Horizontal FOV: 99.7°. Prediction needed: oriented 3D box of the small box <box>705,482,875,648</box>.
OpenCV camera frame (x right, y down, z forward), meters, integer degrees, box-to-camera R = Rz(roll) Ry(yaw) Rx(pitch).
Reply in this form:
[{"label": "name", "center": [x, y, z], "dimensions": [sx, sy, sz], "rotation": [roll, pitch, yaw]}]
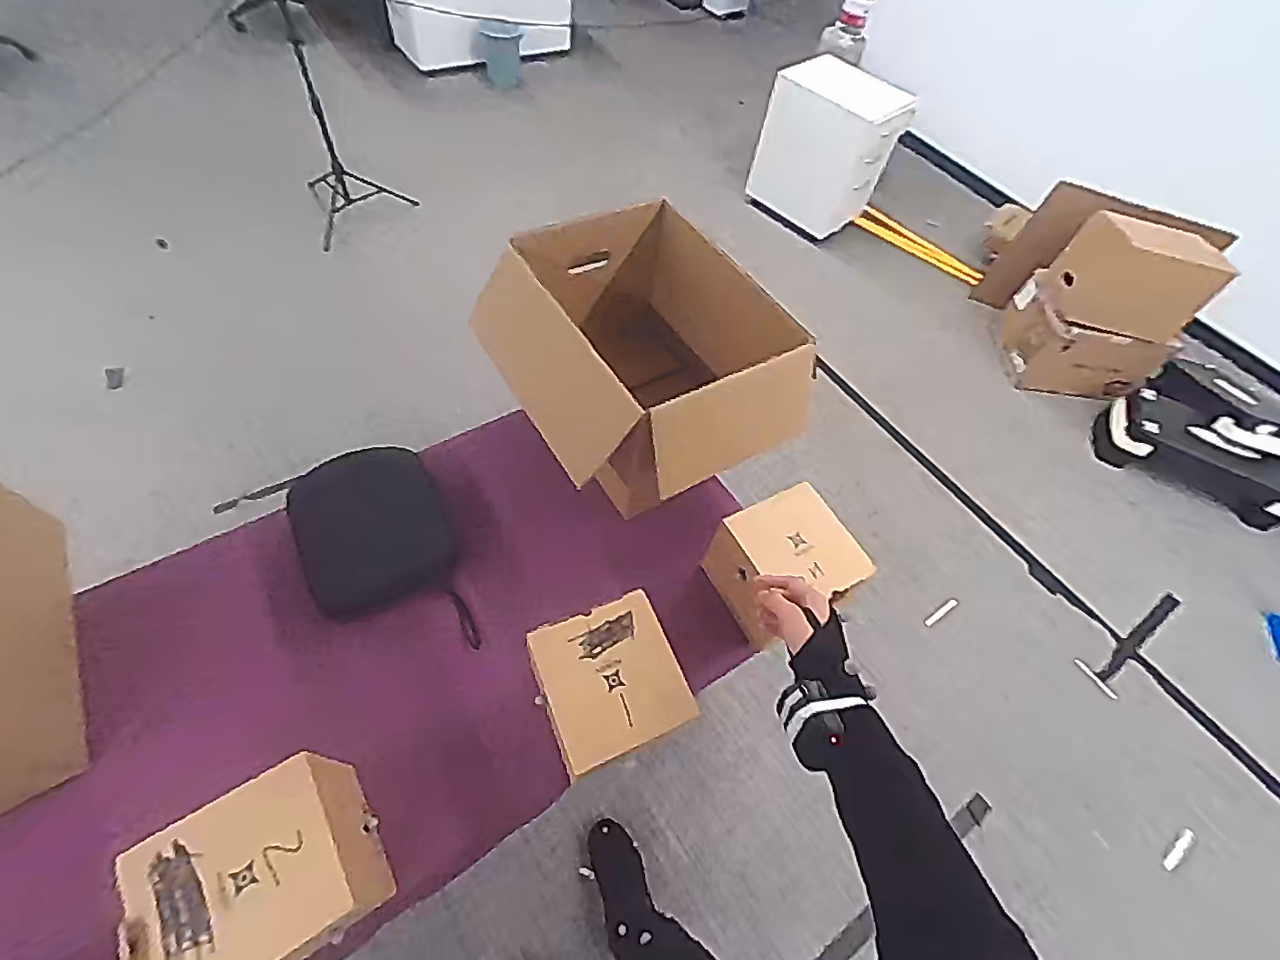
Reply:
[{"label": "small box", "center": [0.224, 0.138, 0.861], "dimensions": [0.168, 0.176, 0.179], "rotation": [-22, 63, -19]}]
